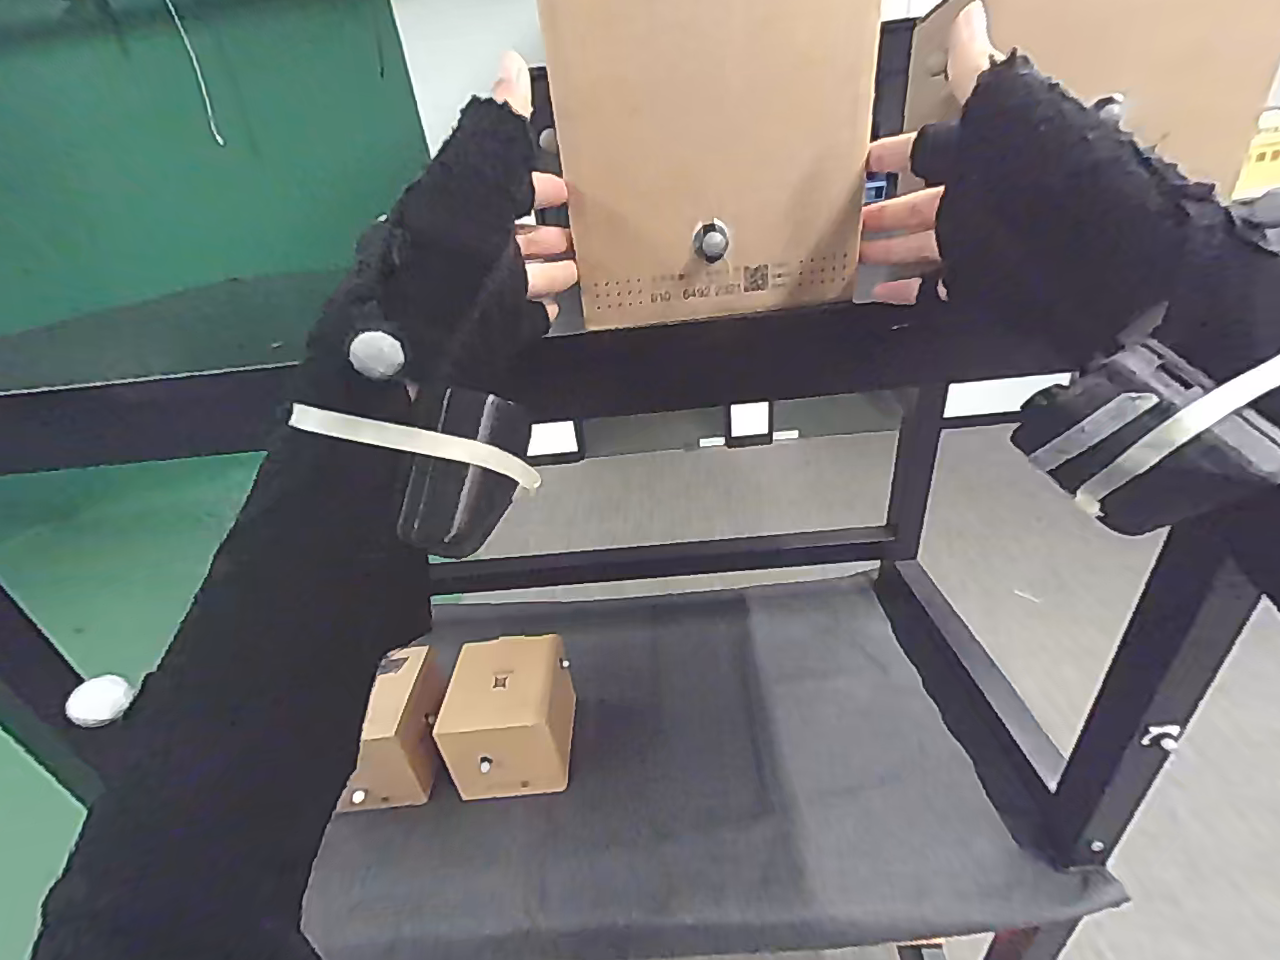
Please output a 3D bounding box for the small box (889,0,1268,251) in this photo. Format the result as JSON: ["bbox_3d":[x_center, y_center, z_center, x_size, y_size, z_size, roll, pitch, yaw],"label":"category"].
[{"bbox_3d":[0.295,-0.272,0.402,0.168,0.176,0.179,0,29,13],"label":"small box"}]

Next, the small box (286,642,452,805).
[{"bbox_3d":[-0.424,0.394,0.884,0.168,0.176,0.179,-6,29,1],"label":"small box"}]
